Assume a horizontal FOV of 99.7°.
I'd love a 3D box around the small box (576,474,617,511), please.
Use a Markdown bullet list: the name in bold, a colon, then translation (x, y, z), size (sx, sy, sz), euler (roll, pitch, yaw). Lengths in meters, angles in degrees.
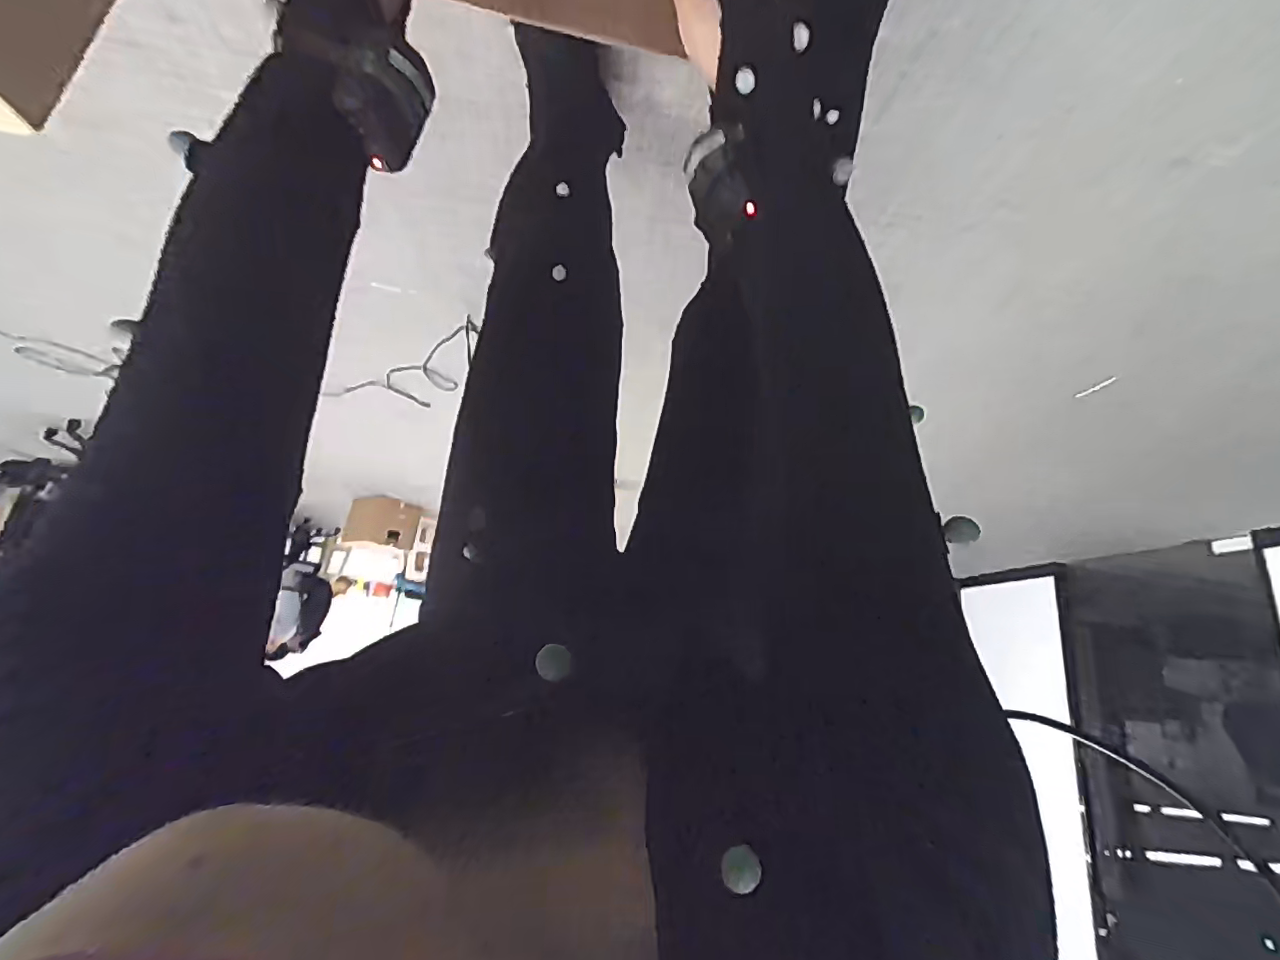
- **small box**: translation (-0.211, 0.079, 2.630), size (0.179, 0.176, 0.168), euler (8, 163, -3)
